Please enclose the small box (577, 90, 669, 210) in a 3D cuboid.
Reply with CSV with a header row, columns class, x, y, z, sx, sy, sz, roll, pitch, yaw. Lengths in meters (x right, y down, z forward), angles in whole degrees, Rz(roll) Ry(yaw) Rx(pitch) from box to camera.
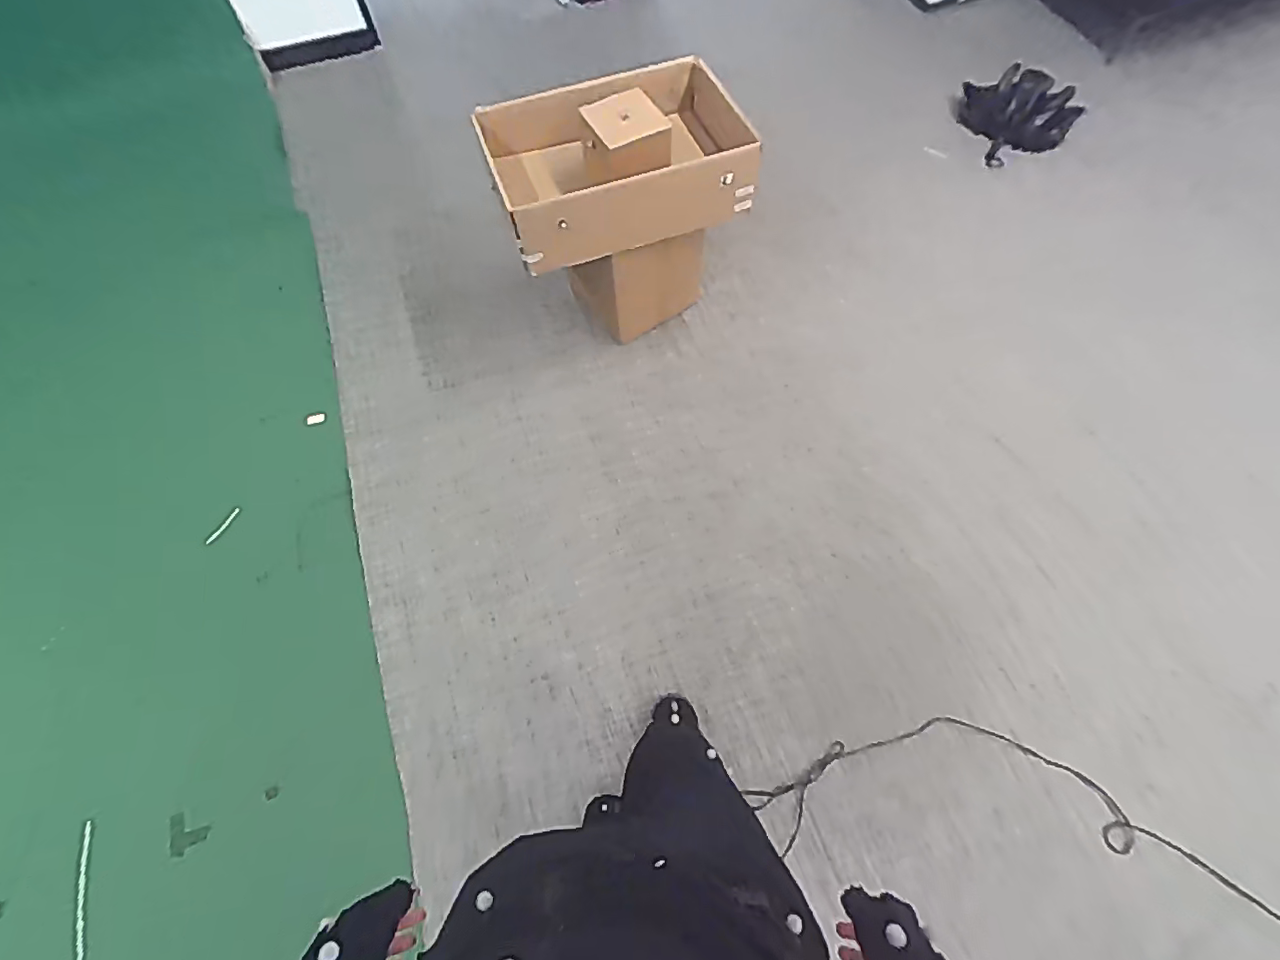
class,x,y,z,sx,sy,sz,roll,pitch,yaw
small box,-0.040,-0.814,1.341,0.168,0.176,0.179,-26,68,-9
